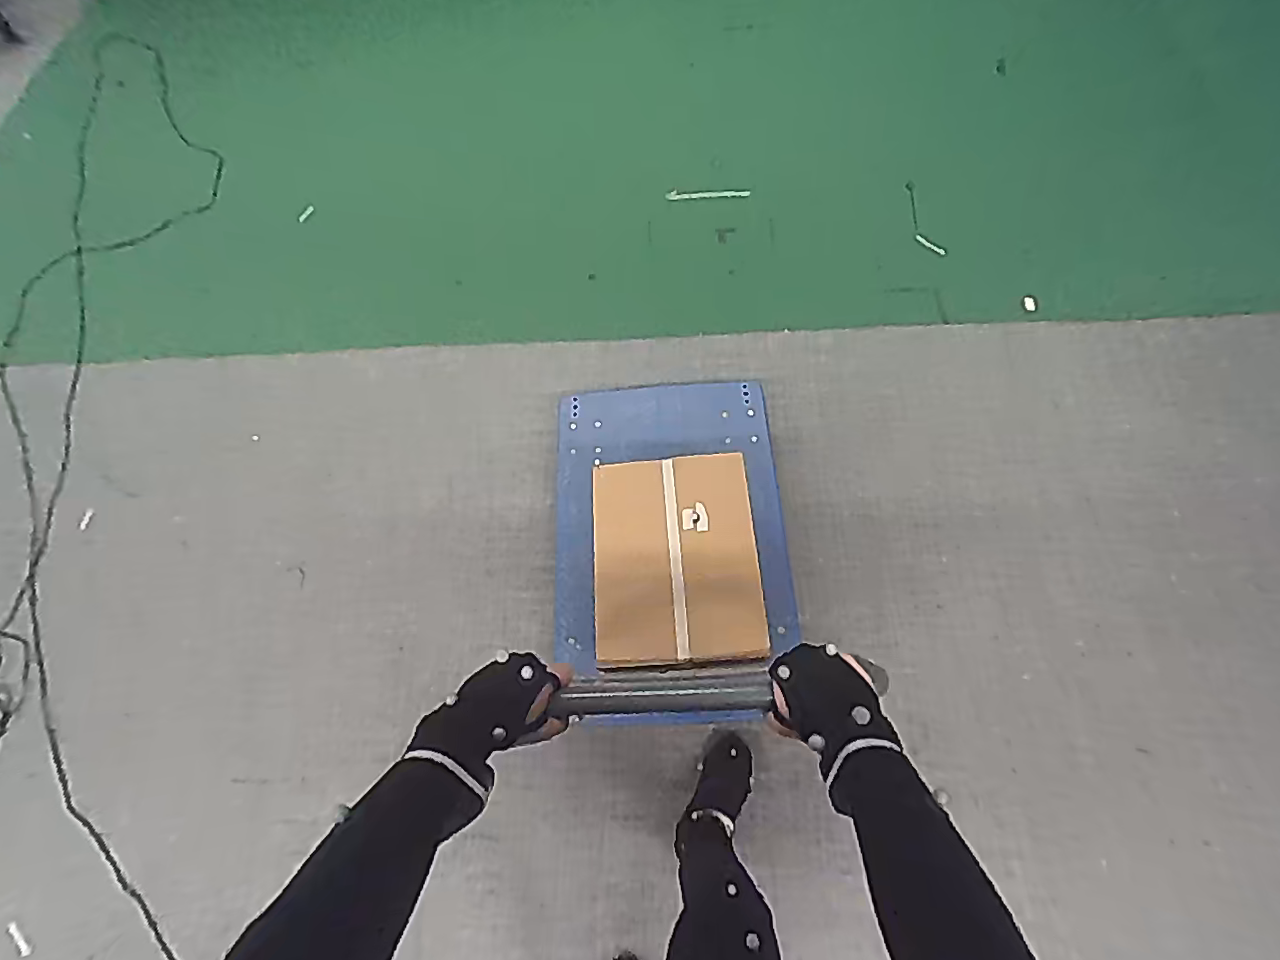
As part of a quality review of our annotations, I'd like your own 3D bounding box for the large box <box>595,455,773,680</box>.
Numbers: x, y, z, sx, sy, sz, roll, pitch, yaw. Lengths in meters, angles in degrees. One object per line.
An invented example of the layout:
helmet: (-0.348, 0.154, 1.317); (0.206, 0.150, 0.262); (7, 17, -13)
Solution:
large box: (0.086, 0.204, 1.178); (0.320, 0.320, 0.408); (-5, 66, 3)
